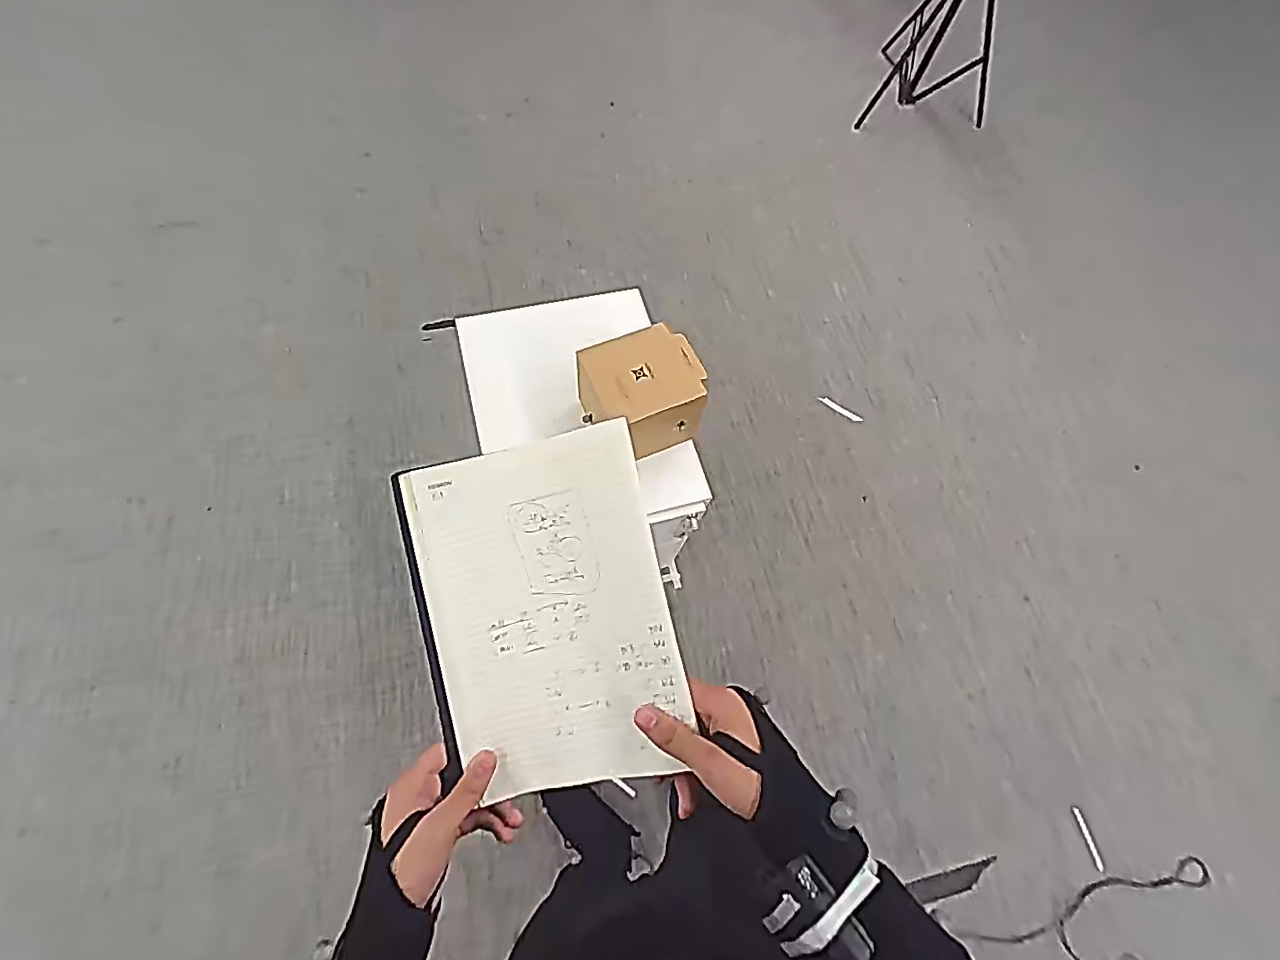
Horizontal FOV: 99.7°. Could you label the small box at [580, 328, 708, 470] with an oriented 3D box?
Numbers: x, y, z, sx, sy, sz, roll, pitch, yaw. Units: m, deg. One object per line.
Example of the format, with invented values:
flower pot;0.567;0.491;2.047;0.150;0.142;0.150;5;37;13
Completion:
small box;-0.001;-0.142;0.990;0.179;0.176;0.168;-21;71;-13
